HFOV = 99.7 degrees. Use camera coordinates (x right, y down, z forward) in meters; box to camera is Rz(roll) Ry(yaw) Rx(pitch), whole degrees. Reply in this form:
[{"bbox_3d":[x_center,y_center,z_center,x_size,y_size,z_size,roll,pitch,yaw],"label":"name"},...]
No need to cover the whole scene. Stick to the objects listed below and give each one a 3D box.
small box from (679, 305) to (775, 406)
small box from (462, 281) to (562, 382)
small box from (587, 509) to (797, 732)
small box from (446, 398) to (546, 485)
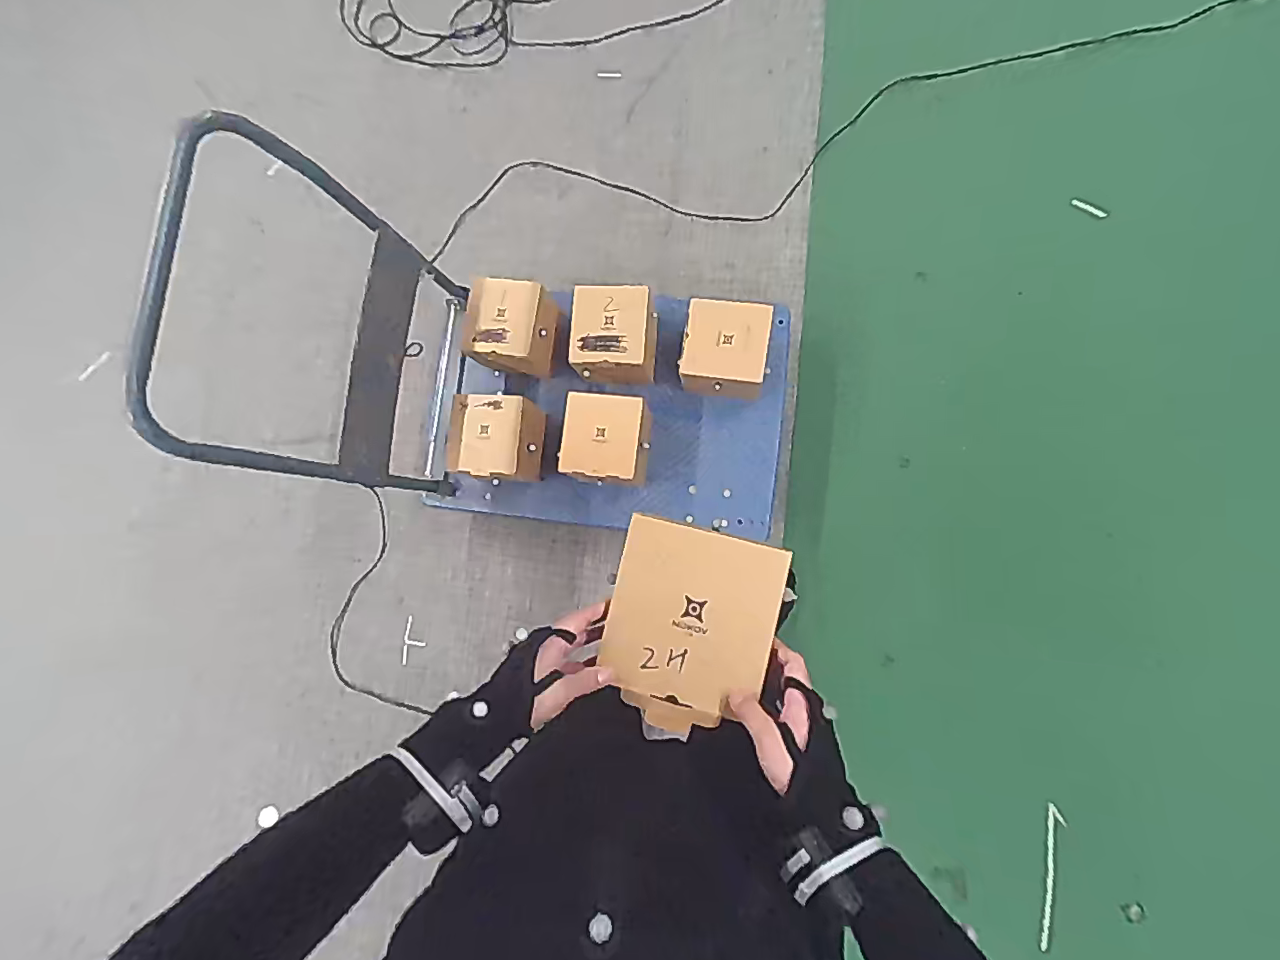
[{"bbox_3d":[0.192,-0.268,1.197,0.179,0.176,0.168,9,86,10],"label":"small box"},{"bbox_3d":[-0.293,-0.343,1.276,0.168,0.176,0.179,9,85,9],"label":"small box"},{"bbox_3d":[0.059,0.142,0.614,0.168,0.176,0.179,20,89,9],"label":"small box"},{"bbox_3d":[-0.325,-0.083,1.251,0.168,0.176,0.179,4,85,9],"label":"small box"}]
